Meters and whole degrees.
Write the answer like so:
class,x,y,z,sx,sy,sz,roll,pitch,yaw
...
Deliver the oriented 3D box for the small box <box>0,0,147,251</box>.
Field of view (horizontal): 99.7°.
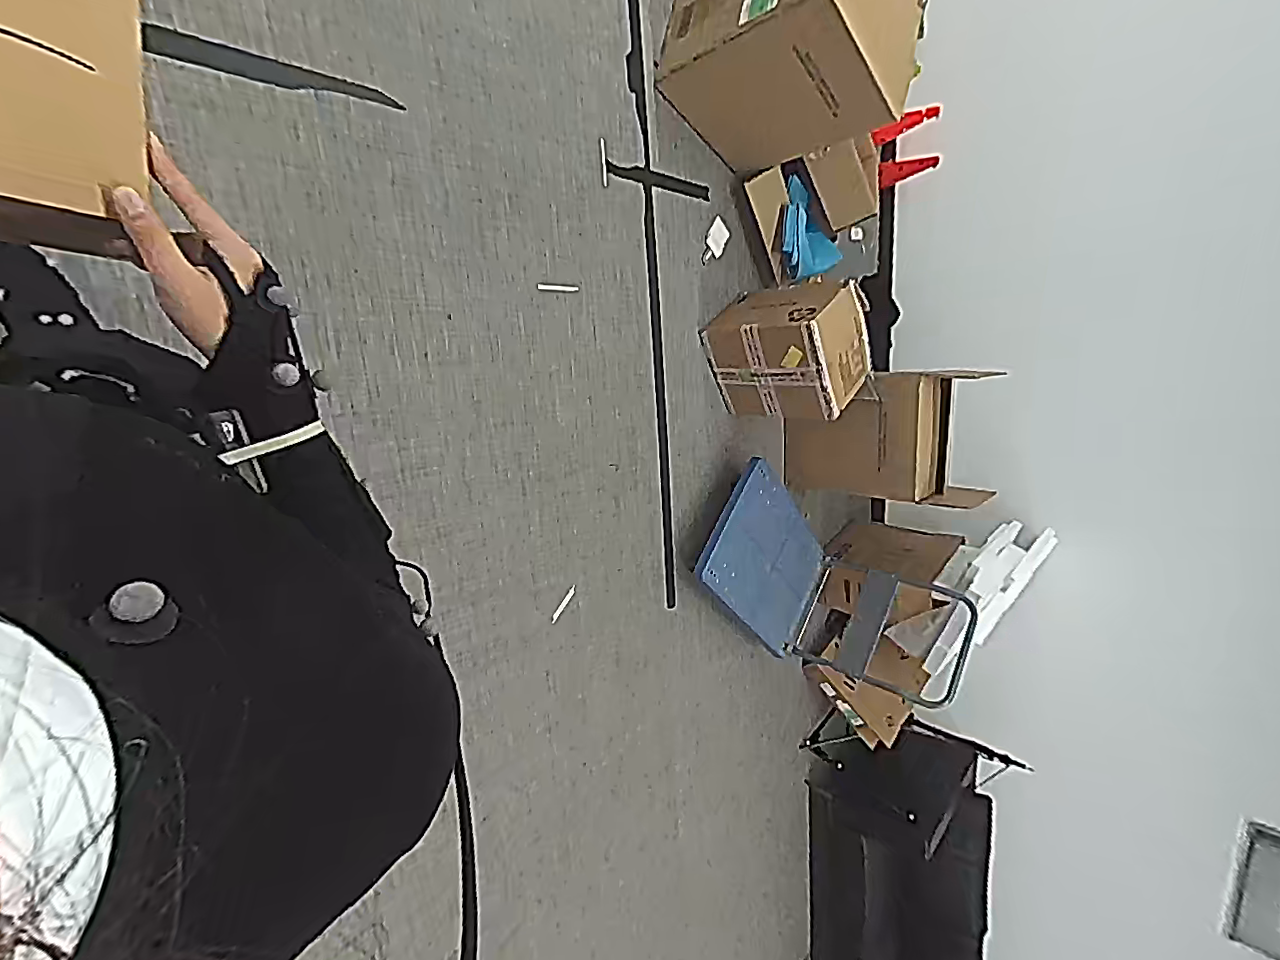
class,x,y,z,sx,sy,sz,roll,pitch,yaw
small box,-0.416,-0.244,0.314,0.179,0.176,0.168,-5,103,-48
